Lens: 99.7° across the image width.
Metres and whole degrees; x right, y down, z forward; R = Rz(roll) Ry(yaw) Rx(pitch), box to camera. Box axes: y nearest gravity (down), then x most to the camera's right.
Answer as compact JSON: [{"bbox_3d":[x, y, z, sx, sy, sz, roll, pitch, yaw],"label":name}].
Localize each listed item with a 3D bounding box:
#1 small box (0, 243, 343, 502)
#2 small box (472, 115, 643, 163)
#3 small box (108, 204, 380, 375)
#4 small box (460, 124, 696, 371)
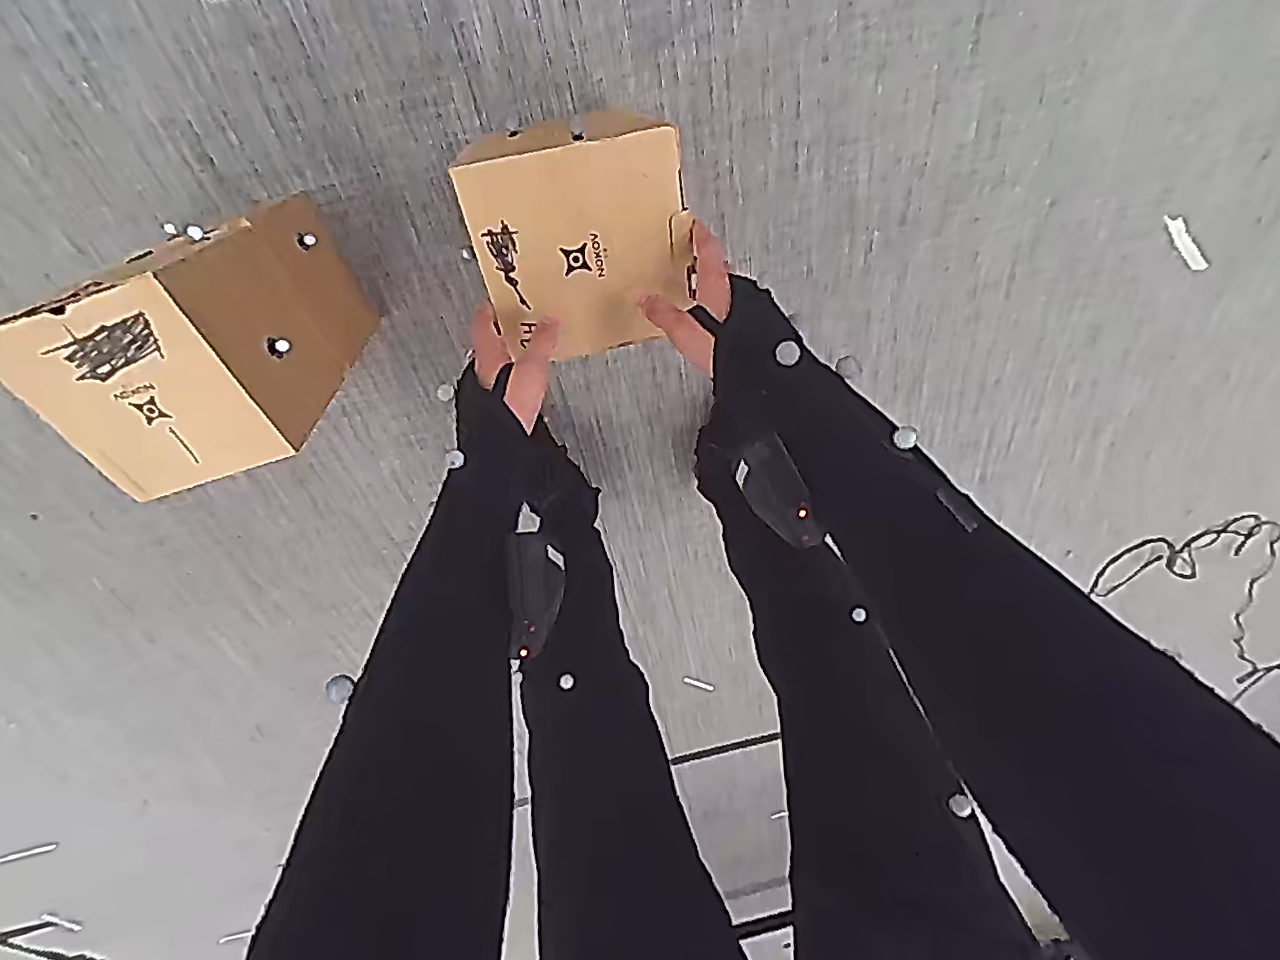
[{"bbox_3d":[-0.429,-0.113,0.525,0.168,0.176,0.179,-16,128,2],"label":"small box"},{"bbox_3d":[-0.083,-0.323,0.646,0.179,0.176,0.168,-13,128,-3],"label":"small box"},{"bbox_3d":[-0.449,-0.215,0.652,0.168,0.176,0.179,-18,128,3],"label":"small box"},{"bbox_3d":[-0.057,-0.228,0.516,0.179,0.176,0.168,-12,127,-4],"label":"small box"}]
